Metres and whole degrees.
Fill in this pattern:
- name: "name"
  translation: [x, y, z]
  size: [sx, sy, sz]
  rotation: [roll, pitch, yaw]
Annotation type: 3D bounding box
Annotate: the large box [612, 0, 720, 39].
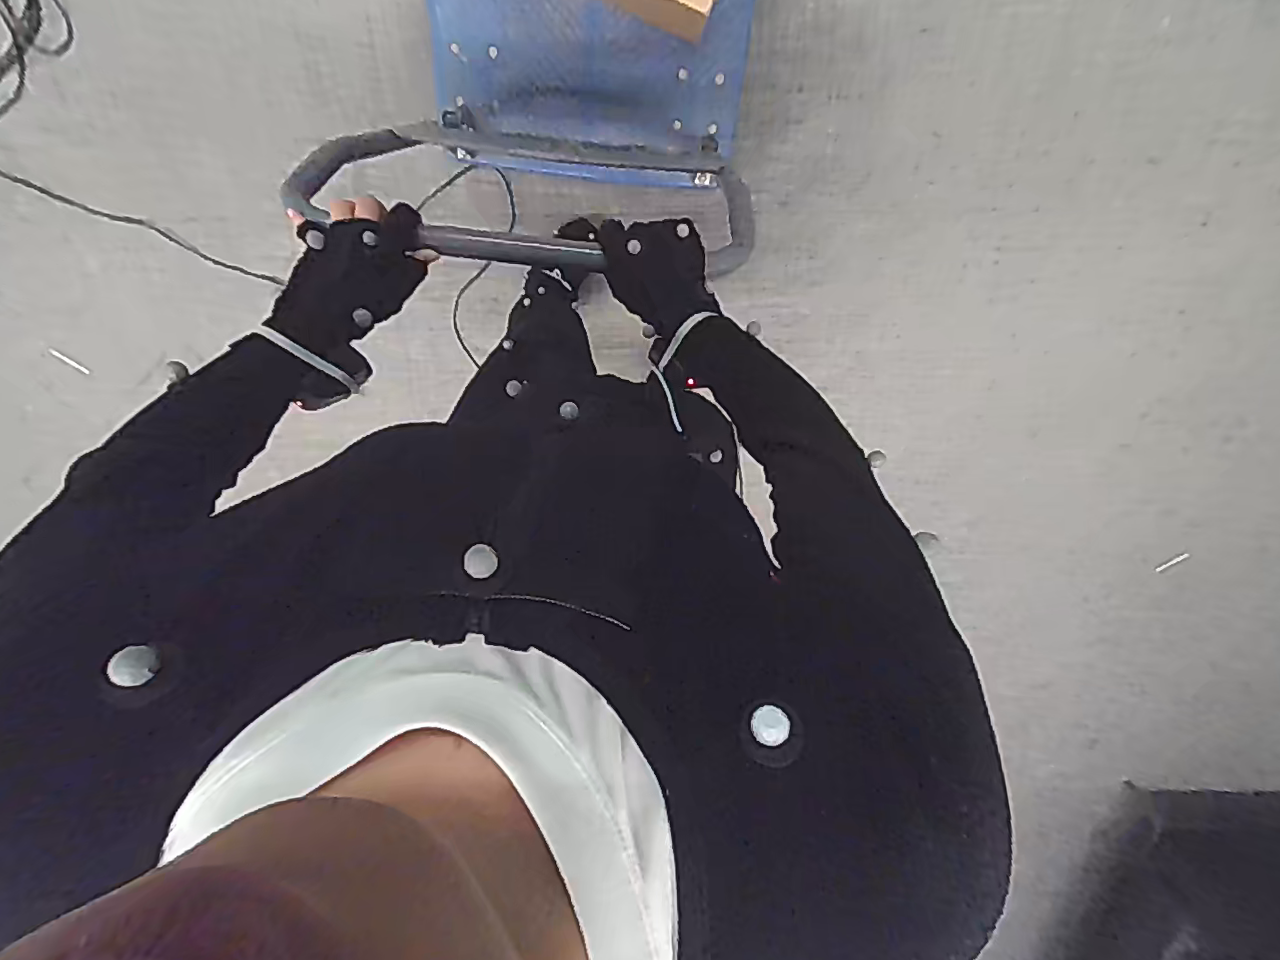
- name: "large box"
  translation: [-0.031, -0.886, 0.747]
  size: [0.408, 0.320, 0.320]
  rotation: [19, 122, -9]
